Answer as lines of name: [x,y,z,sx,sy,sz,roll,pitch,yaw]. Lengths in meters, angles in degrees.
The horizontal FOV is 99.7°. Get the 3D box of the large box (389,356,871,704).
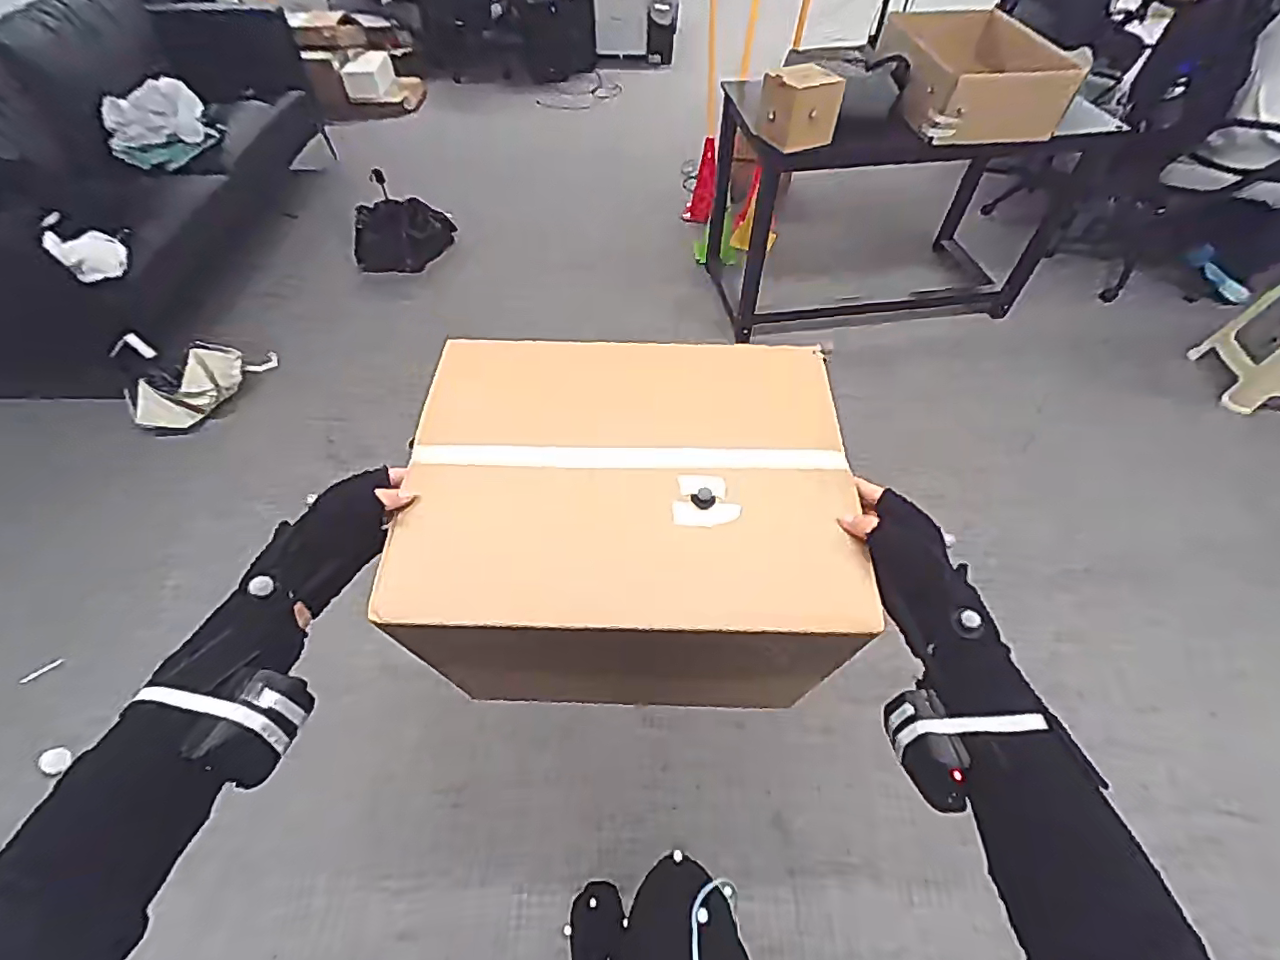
large box: [-0.010,0.072,0.643,0.408,0.320,0.320,1,58,0]
